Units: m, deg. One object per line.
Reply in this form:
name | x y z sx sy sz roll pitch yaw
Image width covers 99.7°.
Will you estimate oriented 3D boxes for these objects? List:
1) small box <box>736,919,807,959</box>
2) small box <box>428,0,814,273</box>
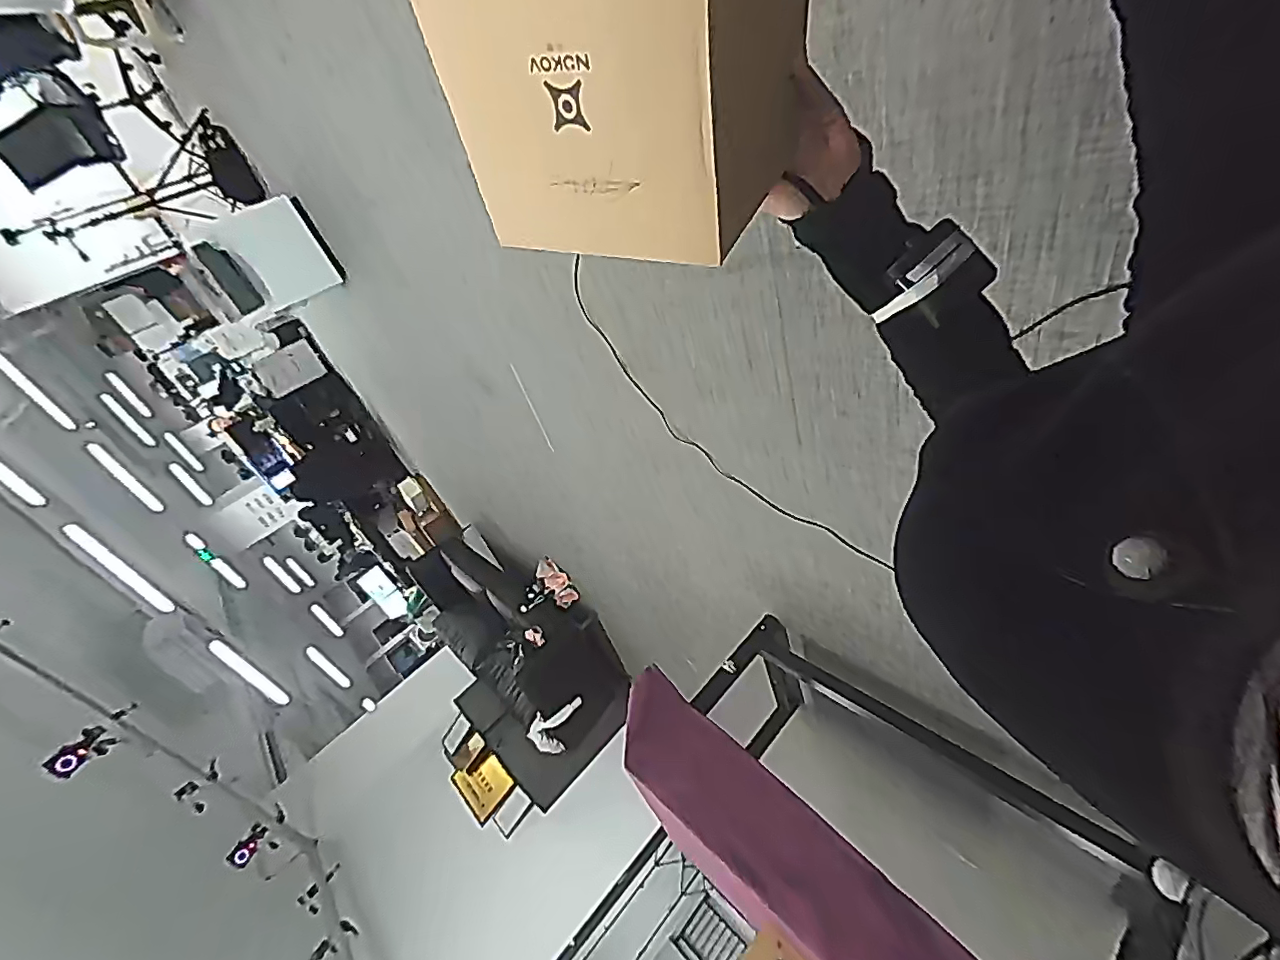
small box | 0.365 1.319 1.419 0.168 0.176 0.179 14 136 51
small box | 0.003 -0.260 0.336 0.168 0.176 0.179 16 146 22
